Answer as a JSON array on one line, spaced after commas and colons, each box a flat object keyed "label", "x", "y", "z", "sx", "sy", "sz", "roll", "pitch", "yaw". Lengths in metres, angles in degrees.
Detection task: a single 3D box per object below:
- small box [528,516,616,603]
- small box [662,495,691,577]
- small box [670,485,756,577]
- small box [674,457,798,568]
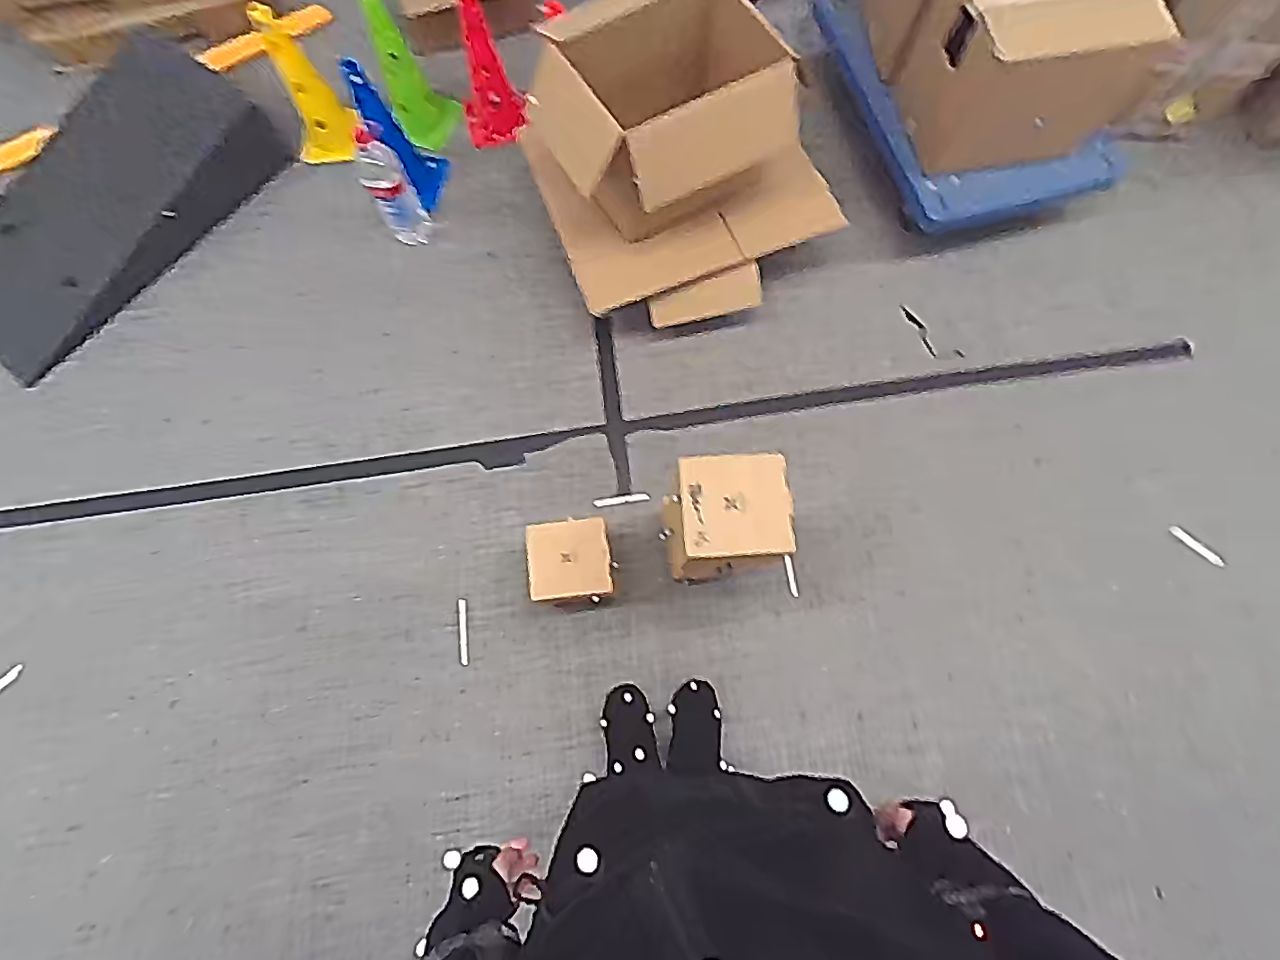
[{"label": "small box", "x": -0.152, "y": 0.188, "z": 1.245, "sx": 0.179, "sy": 0.176, "sz": 0.168, "roll": -7, "pitch": 74, "yaw": -3}, {"label": "small box", "x": 0.146, "y": 0.130, "z": 1.262, "sx": 0.168, "sy": 0.176, "sz": 0.179, "roll": -7, "pitch": 74, "yaw": -3}, {"label": "small box", "x": 0.155, "y": 0.102, "z": 1.099, "sx": 0.179, "sy": 0.176, "sz": 0.168, "roll": -5, "pitch": 75, "yaw": -3}, {"label": "small box", "x": 0.156, "y": 0.062, "z": 0.940, "sx": 0.179, "sy": 0.176, "sz": 0.168, "roll": -2, "pitch": 75, "yaw": -2}]
